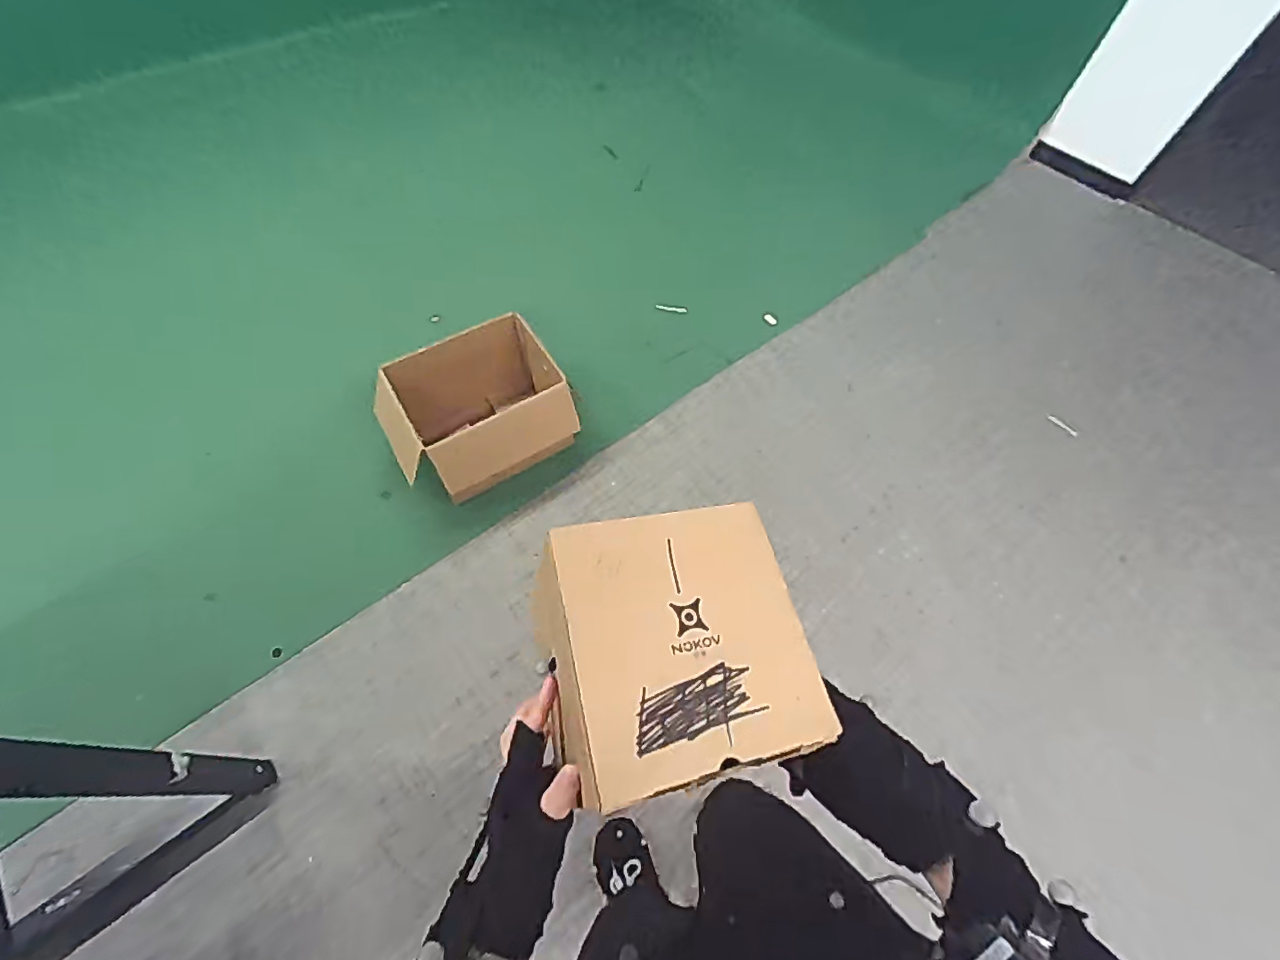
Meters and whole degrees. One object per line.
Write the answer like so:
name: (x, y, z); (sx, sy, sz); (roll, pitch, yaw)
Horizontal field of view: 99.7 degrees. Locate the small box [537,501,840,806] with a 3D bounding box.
small box: (0.016, 0.137, 0.428); (0.168, 0.176, 0.179); (-5, 62, -19)
